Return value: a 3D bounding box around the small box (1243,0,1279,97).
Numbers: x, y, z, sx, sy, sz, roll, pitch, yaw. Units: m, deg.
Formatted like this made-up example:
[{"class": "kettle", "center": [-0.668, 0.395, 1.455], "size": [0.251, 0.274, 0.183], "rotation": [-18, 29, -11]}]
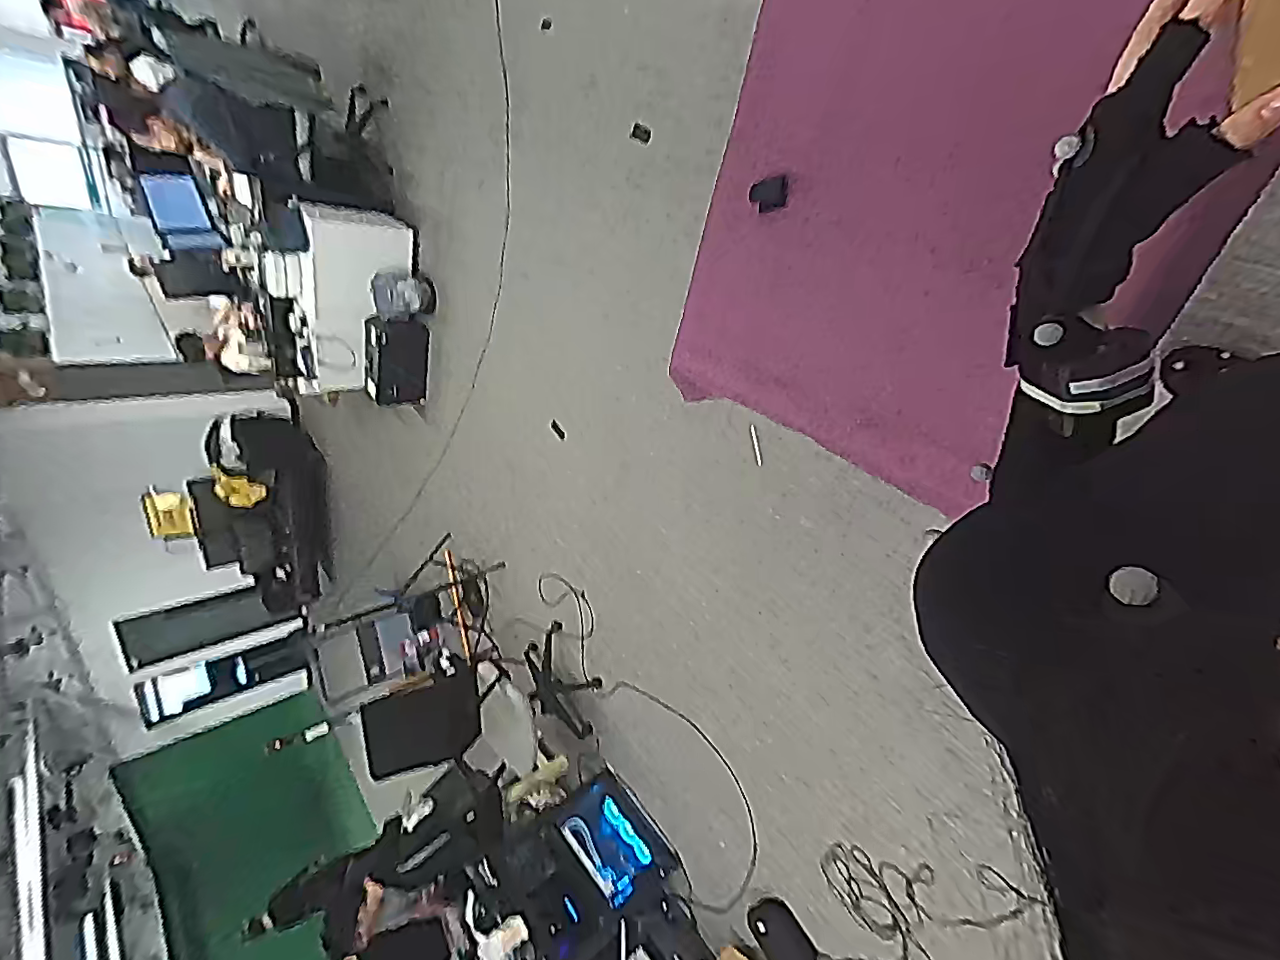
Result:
[{"class": "small box", "center": [0.331, -0.289, 0.177], "size": [0.168, 0.179, 0.176], "rotation": [5, 61, 41]}]
